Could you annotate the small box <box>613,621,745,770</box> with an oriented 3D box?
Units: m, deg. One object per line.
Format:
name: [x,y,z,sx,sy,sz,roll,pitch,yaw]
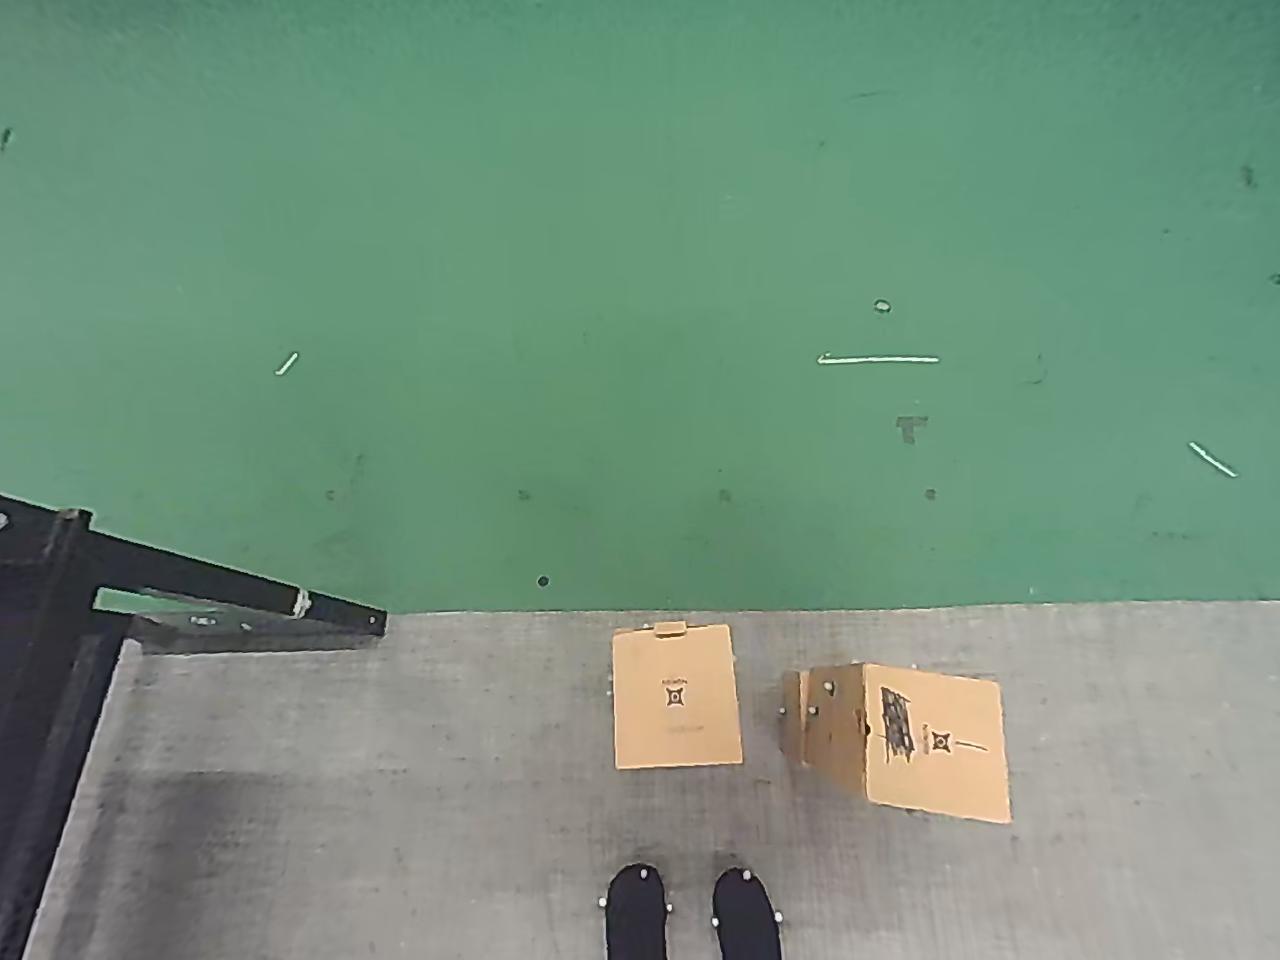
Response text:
small box: [0.051,0.308,0.782,0.168,0.176,0.179,-5,69,2]

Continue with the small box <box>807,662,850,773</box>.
small box: [0.387,0.409,0.902,0.179,0.176,0.168,9,71,5]

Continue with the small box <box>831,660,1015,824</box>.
small box: [0.374,0.351,0.749,0.179,0.176,0.168,7,70,4]
